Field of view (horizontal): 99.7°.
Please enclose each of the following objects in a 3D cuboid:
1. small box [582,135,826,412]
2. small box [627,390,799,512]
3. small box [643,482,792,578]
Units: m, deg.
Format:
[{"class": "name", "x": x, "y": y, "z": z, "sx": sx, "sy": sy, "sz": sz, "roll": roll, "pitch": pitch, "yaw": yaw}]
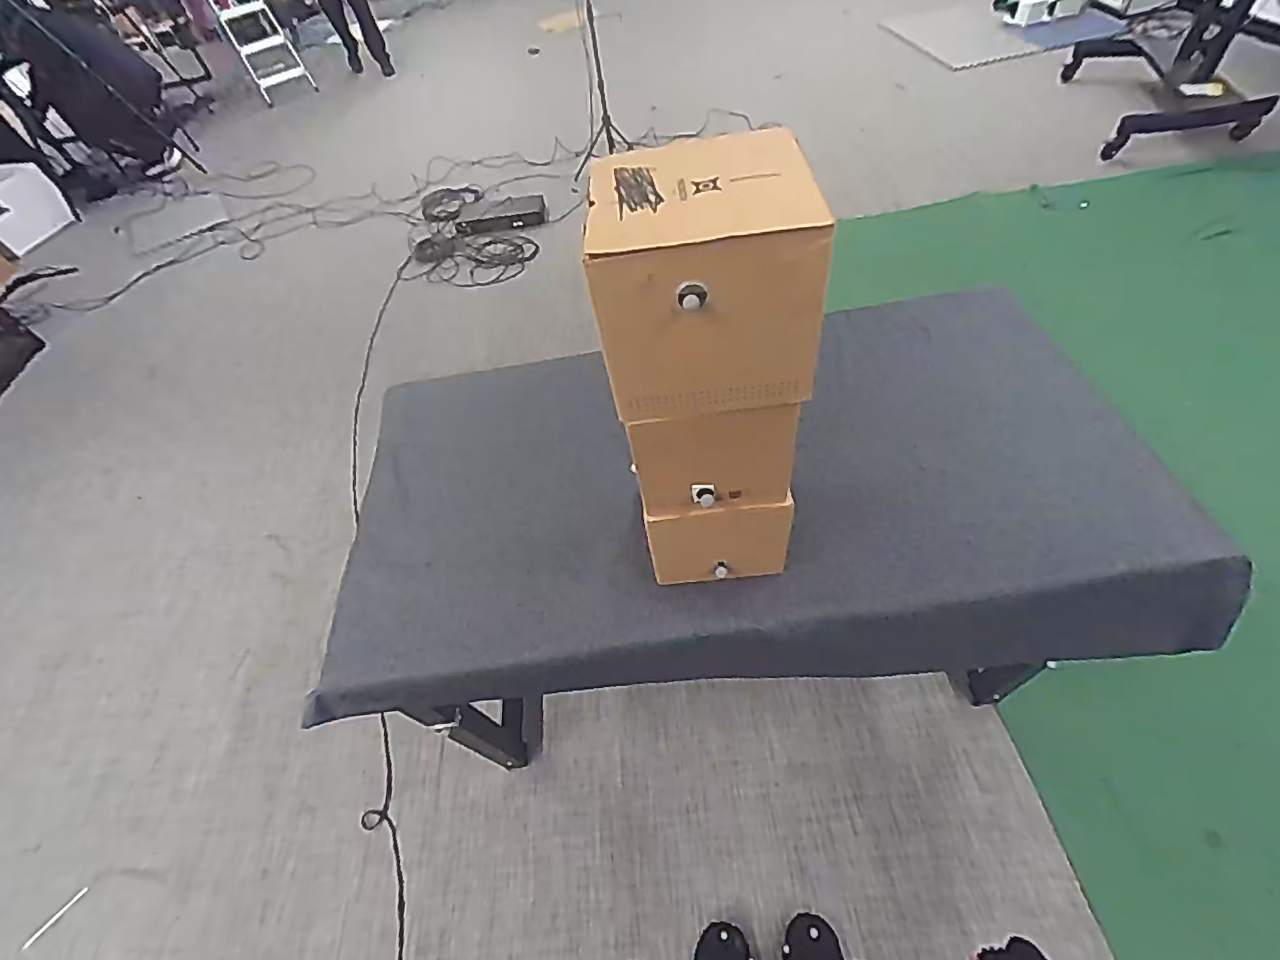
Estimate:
[{"class": "small box", "x": 0.054, "y": -0.178, "z": 0.490, "sx": 0.179, "sy": 0.176, "sz": 0.168, "roll": -5, "pitch": 52, "yaw": 5}, {"class": "small box", "x": 0.074, "y": -0.085, "z": 0.624, "sx": 0.168, "sy": 0.176, "sz": 0.179, "roll": -8, "pitch": 53, "yaw": 4}, {"class": "small box", "x": 0.096, "y": 0.021, "z": 0.746, "sx": 0.179, "sy": 0.176, "sz": 0.168, "roll": -6, "pitch": 52, "yaw": 3}]
